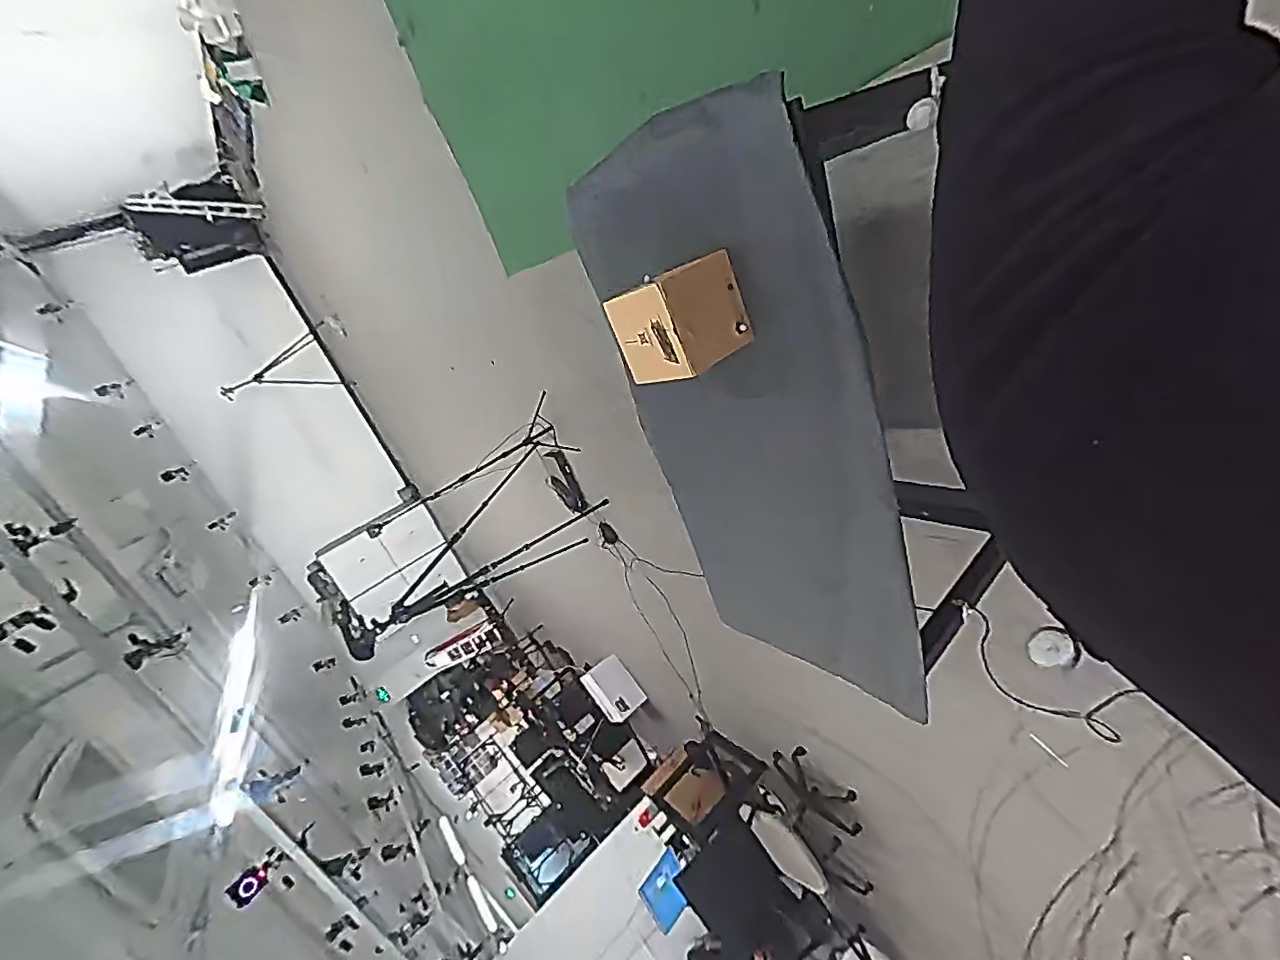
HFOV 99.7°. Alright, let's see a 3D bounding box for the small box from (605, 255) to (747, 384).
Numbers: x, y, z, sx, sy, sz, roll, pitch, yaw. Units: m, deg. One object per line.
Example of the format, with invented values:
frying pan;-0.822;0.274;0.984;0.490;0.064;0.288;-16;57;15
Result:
small box;0.073;-0.289;0.987;0.179;0.176;0.168;9;128;56
